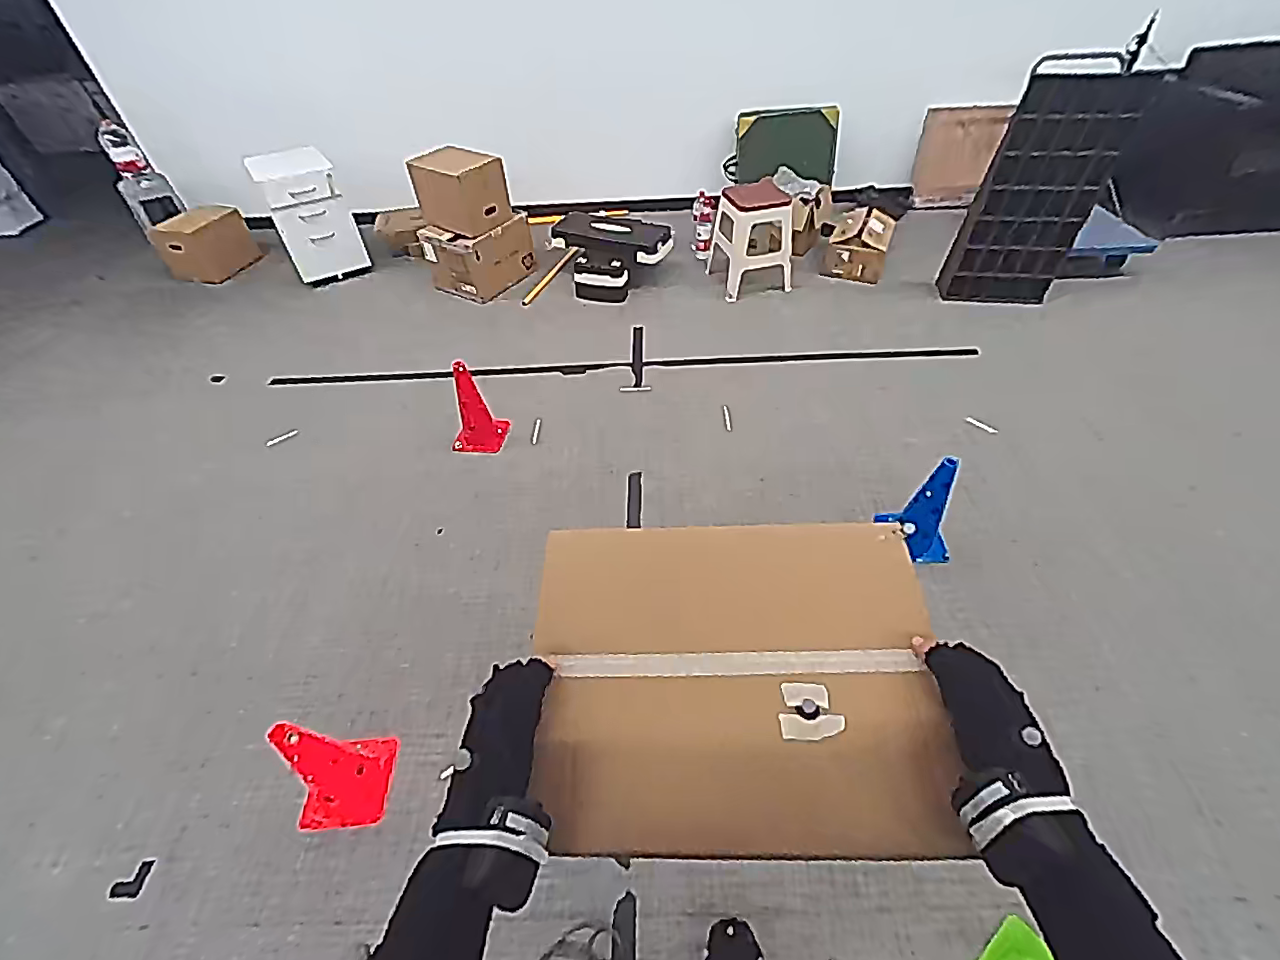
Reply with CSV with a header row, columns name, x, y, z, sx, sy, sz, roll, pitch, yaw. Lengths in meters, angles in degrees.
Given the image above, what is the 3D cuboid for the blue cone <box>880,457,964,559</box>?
name,x,y,z,sx,sy,sz,roll,pitch,yaw
blue cone,0.909,0.074,1.689,0.192,0.380,0.193,1,46,3

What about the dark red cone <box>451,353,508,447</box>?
name,x,y,z,sx,sy,sz,roll,pitch,yaw
dark red cone,-0.660,-0.318,2.109,0.201,0.394,0.202,3,47,5

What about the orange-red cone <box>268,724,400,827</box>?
name,x,y,z,sx,sy,sz,roll,pitch,yaw
orange-red cone,-0.726,0.637,1.229,0.198,0.360,0.199,-4,47,1

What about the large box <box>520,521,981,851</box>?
name,x,y,z,sx,sy,sz,roll,pitch,yaw
large box,0.097,0.265,0.667,0.408,0.320,0.320,-2,55,3

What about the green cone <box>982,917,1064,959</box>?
name,x,y,z,sx,sy,sz,roll,pitch,yaw
green cone,0.758,0.875,0.904,0.202,0.368,0.200,-29,52,-25
